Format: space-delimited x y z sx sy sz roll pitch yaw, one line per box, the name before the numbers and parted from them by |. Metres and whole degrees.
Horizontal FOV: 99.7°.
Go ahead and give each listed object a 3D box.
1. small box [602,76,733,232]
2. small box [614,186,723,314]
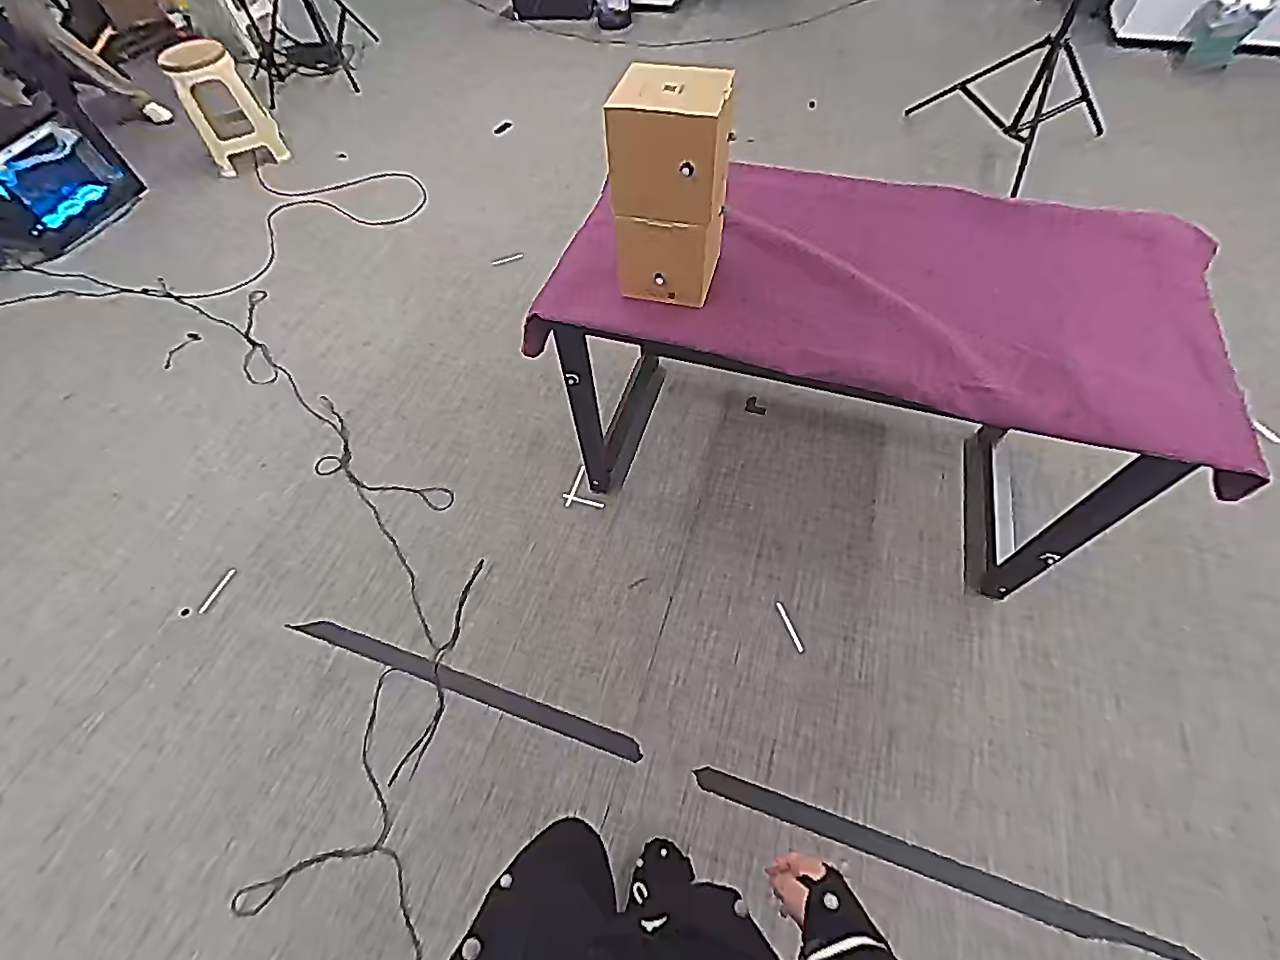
small box | 0.049 -0.540 0.904 0.179 0.176 0.168 11 56 10
small box | 0.057 -0.450 1.039 0.168 0.176 0.179 12 59 11
